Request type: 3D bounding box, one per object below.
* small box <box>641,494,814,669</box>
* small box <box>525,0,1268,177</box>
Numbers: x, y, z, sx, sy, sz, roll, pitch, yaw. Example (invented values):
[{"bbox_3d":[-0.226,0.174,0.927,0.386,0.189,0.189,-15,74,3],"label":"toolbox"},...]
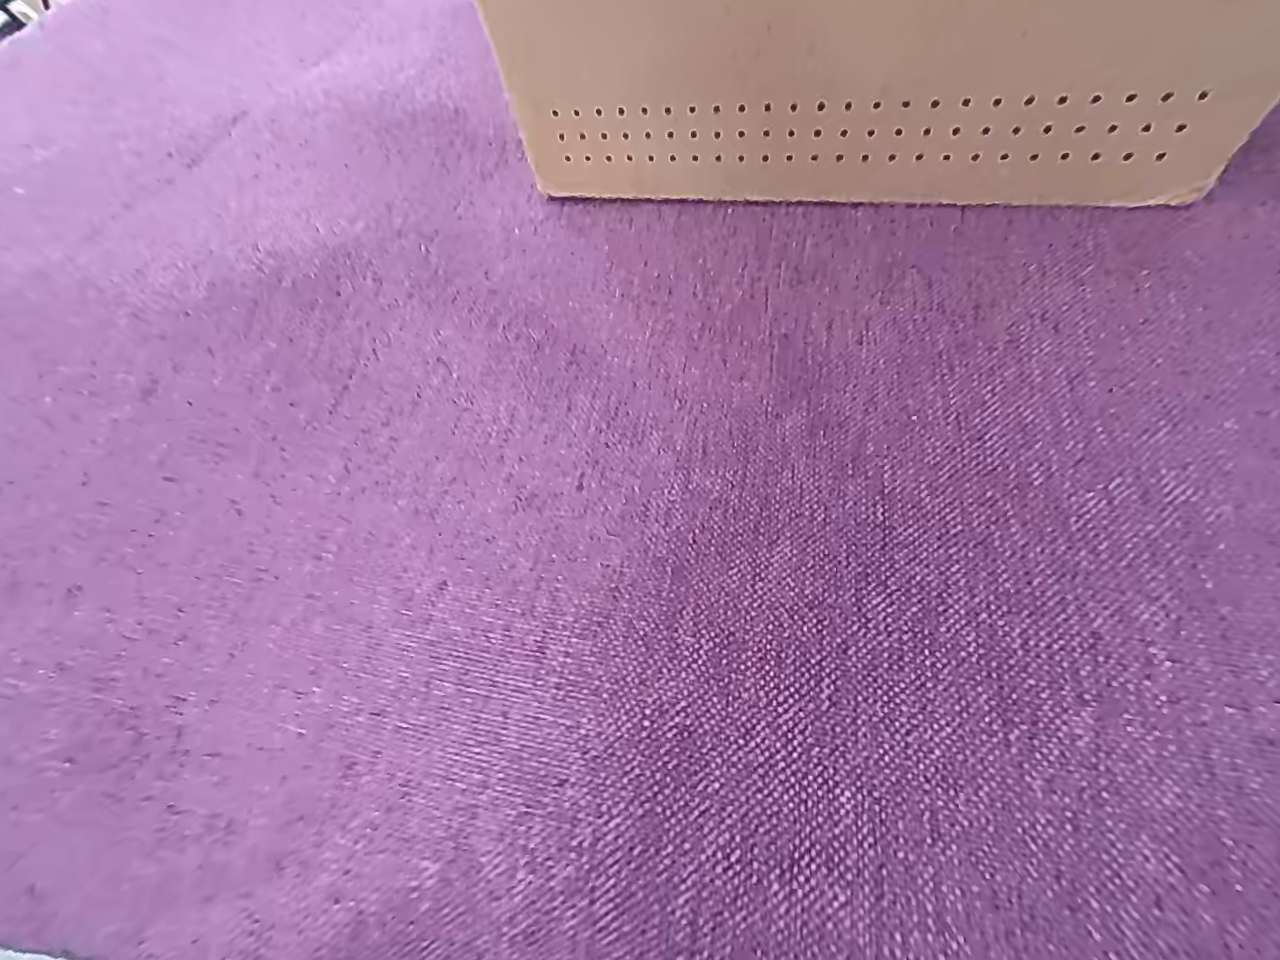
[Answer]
[{"bbox_3d":[0.108,0.129,0.653,0.179,0.176,0.168,3,65,12],"label":"small box"},{"bbox_3d":[0.062,-0.195,0.120,0.179,0.176,0.168,9,64,13],"label":"small box"}]
